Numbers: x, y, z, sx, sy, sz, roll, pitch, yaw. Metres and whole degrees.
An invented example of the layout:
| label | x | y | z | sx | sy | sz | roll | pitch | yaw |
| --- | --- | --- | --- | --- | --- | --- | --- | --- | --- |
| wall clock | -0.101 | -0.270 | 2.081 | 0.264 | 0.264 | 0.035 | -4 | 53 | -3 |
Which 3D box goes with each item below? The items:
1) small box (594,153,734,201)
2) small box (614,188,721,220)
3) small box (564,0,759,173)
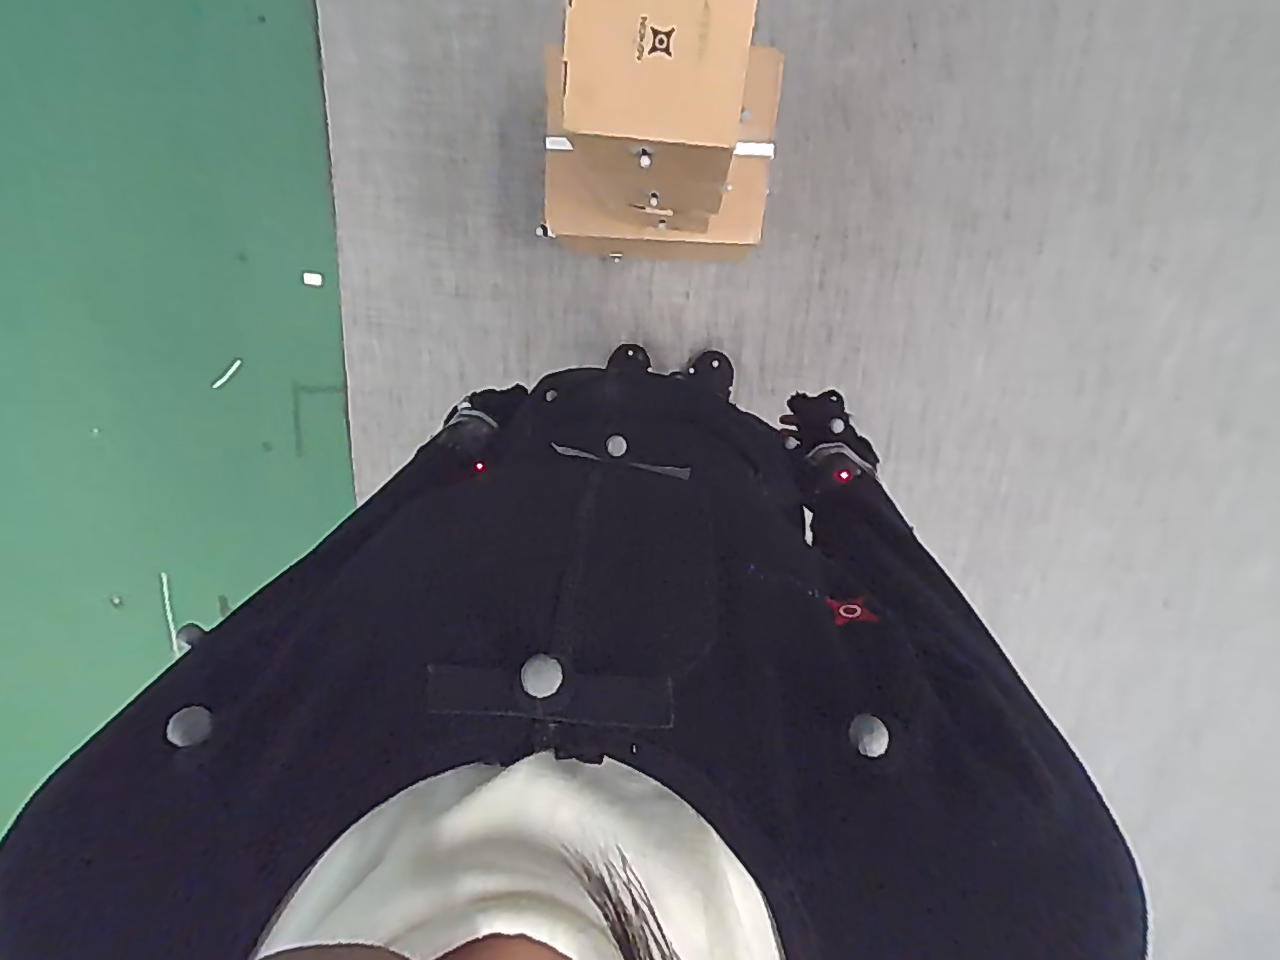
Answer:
| label | x | y | z | sx | sy | sz | roll | pitch | yaw |
| --- | --- | --- | --- | --- | --- | --- | --- | --- | --- |
| small box | 0.045 | -0.487 | 0.730 | 0.179 | 0.176 | 0.168 | 8 | 107 | 5 |
| small box | 0.058 | -0.538 | 0.887 | 0.168 | 0.176 | 0.179 | 8 | 108 | 5 |
| small box | 0.028 | -0.442 | 0.576 | 0.179 | 0.176 | 0.168 | 7 | 108 | 4 |
